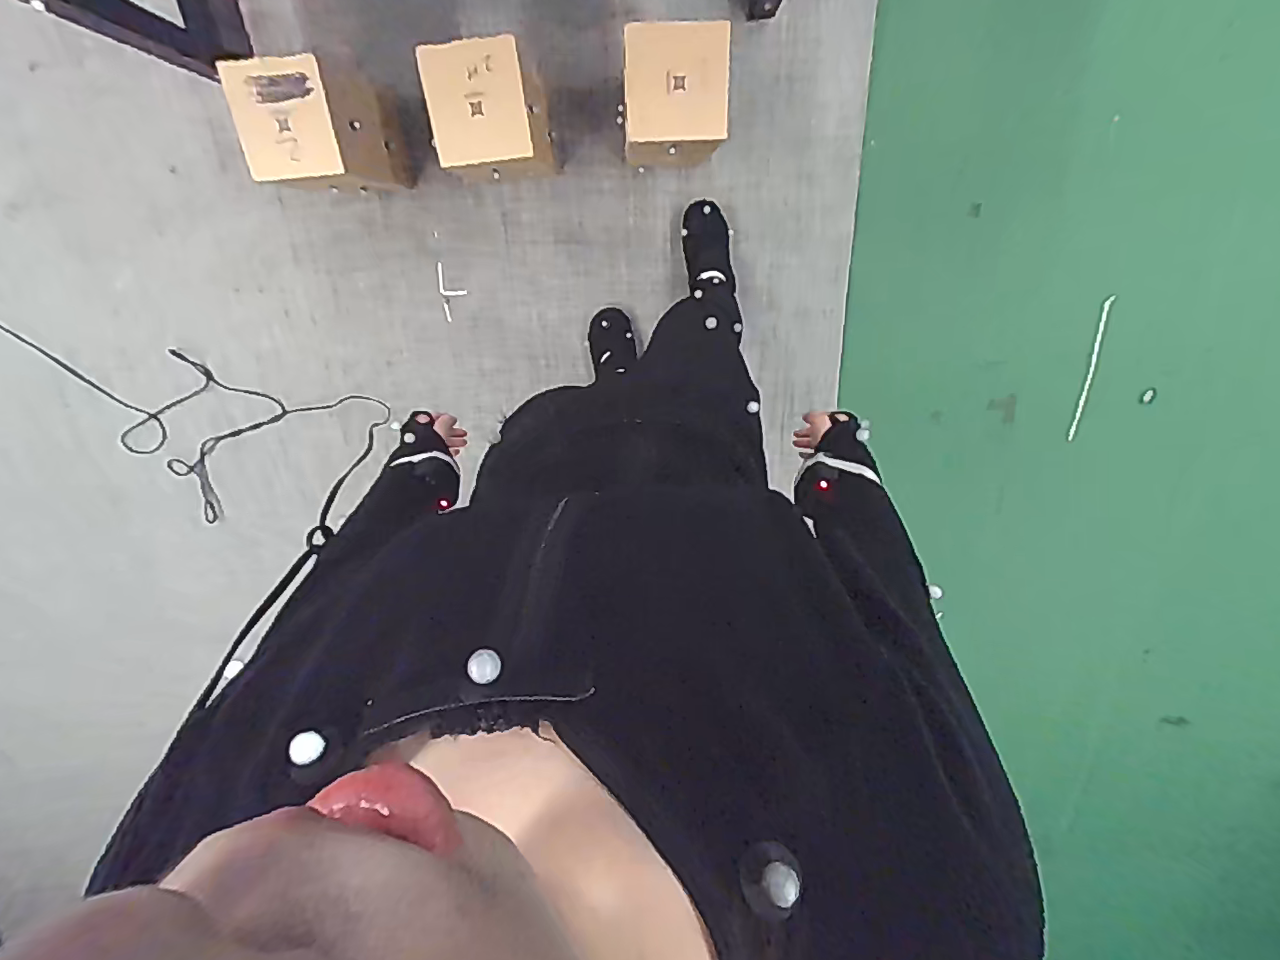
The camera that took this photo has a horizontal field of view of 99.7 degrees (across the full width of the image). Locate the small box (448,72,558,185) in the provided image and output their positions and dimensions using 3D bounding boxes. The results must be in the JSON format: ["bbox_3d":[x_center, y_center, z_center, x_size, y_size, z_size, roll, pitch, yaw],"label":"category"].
[{"bbox_3d":[-0.279,-0.730,1.139,0.179,0.176,0.168,-4,112,1],"label":"small box"}]
